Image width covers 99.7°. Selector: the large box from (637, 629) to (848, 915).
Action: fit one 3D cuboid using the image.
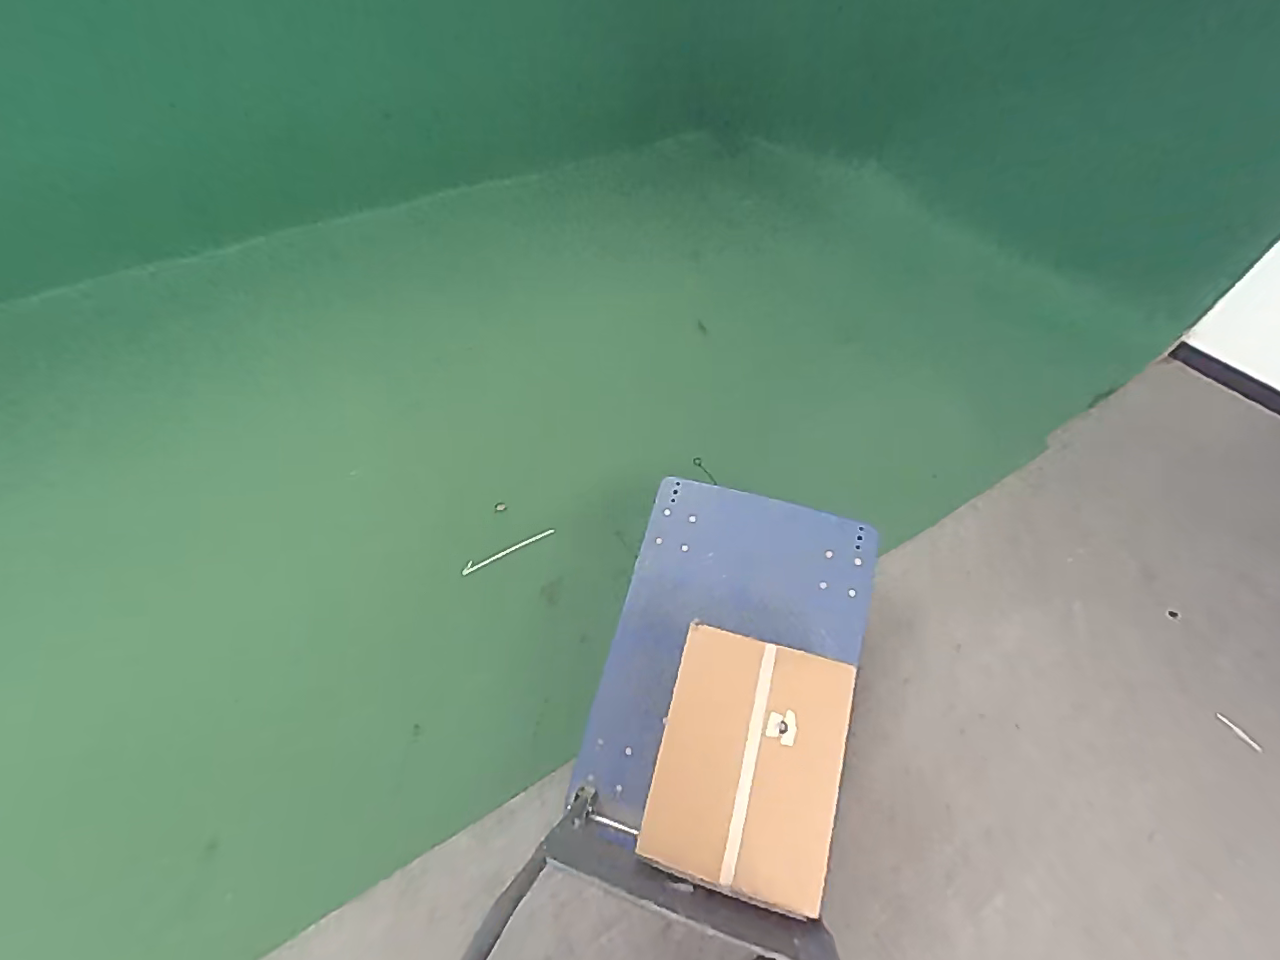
[{"bbox_3d":[0.210,0.560,1.119,0.320,0.320,0.408,14,72,12],"label":"large box"}]
